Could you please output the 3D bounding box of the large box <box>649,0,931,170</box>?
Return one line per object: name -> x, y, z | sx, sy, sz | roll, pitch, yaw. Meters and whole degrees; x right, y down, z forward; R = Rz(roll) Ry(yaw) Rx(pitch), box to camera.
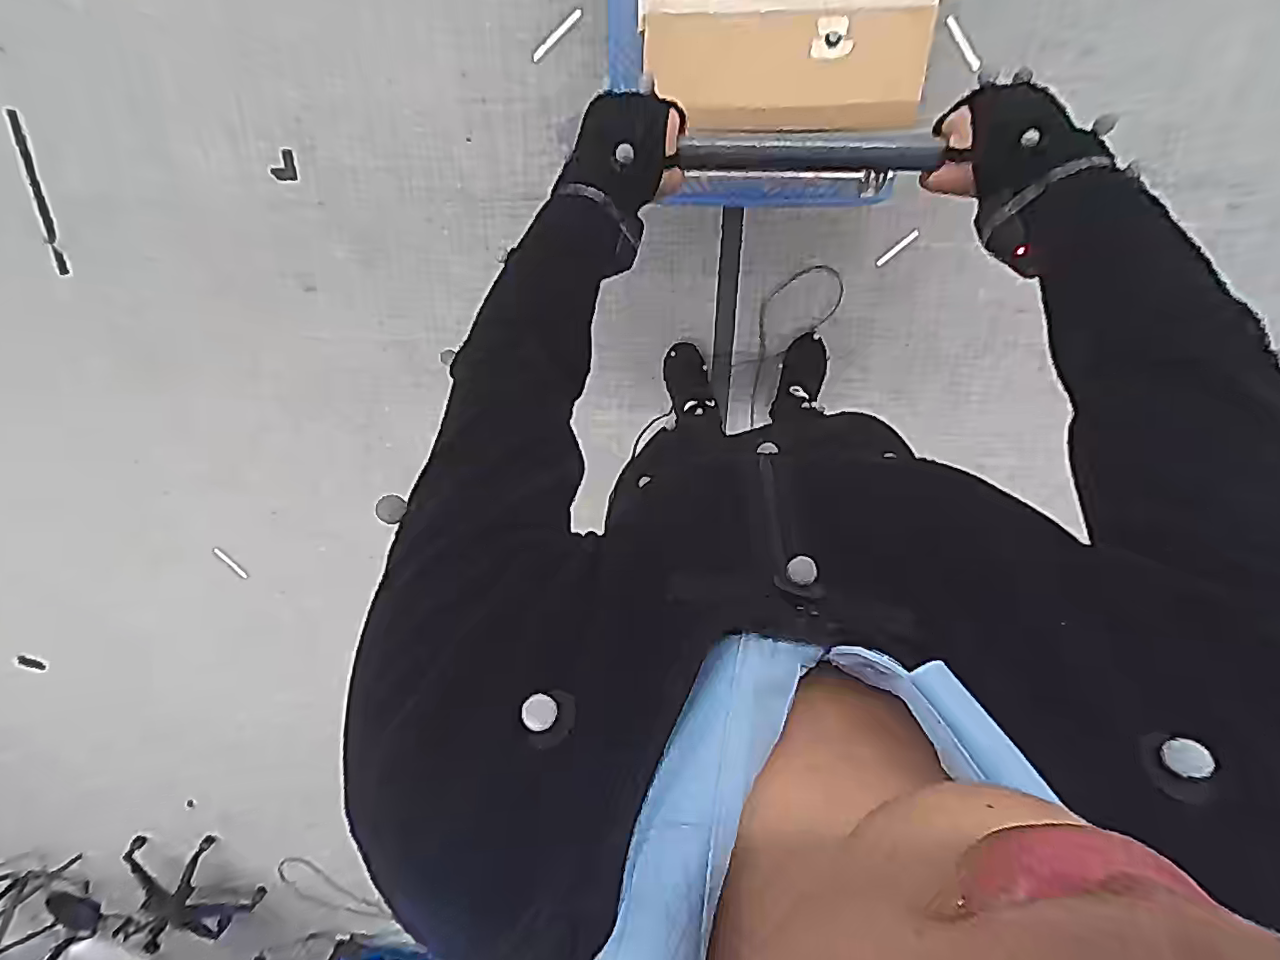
large box -> 0.223, -0.728, 0.913 | 0.408, 0.320, 0.320 | 2, 112, 4
